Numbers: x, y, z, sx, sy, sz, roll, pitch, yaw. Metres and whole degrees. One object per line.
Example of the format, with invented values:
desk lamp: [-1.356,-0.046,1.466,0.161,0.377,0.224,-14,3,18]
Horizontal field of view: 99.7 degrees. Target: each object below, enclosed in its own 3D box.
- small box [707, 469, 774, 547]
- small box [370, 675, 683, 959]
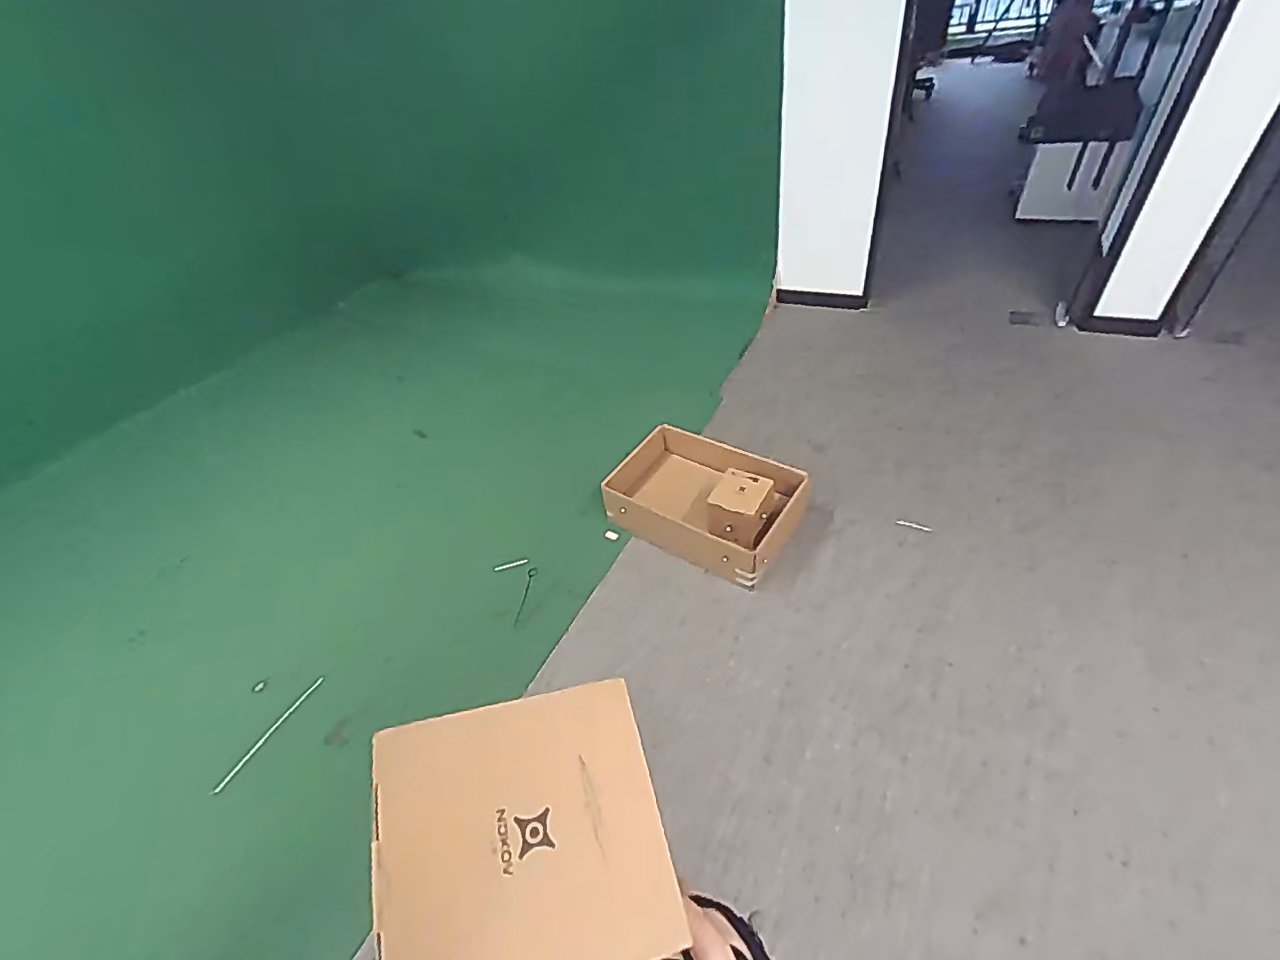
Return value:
small box: [0.343,0.096,1.809,0.168,0.176,0.179,18,52,29]
small box: [-0.093,0.268,0.403,0.179,0.176,0.168,-5,55,-21]
